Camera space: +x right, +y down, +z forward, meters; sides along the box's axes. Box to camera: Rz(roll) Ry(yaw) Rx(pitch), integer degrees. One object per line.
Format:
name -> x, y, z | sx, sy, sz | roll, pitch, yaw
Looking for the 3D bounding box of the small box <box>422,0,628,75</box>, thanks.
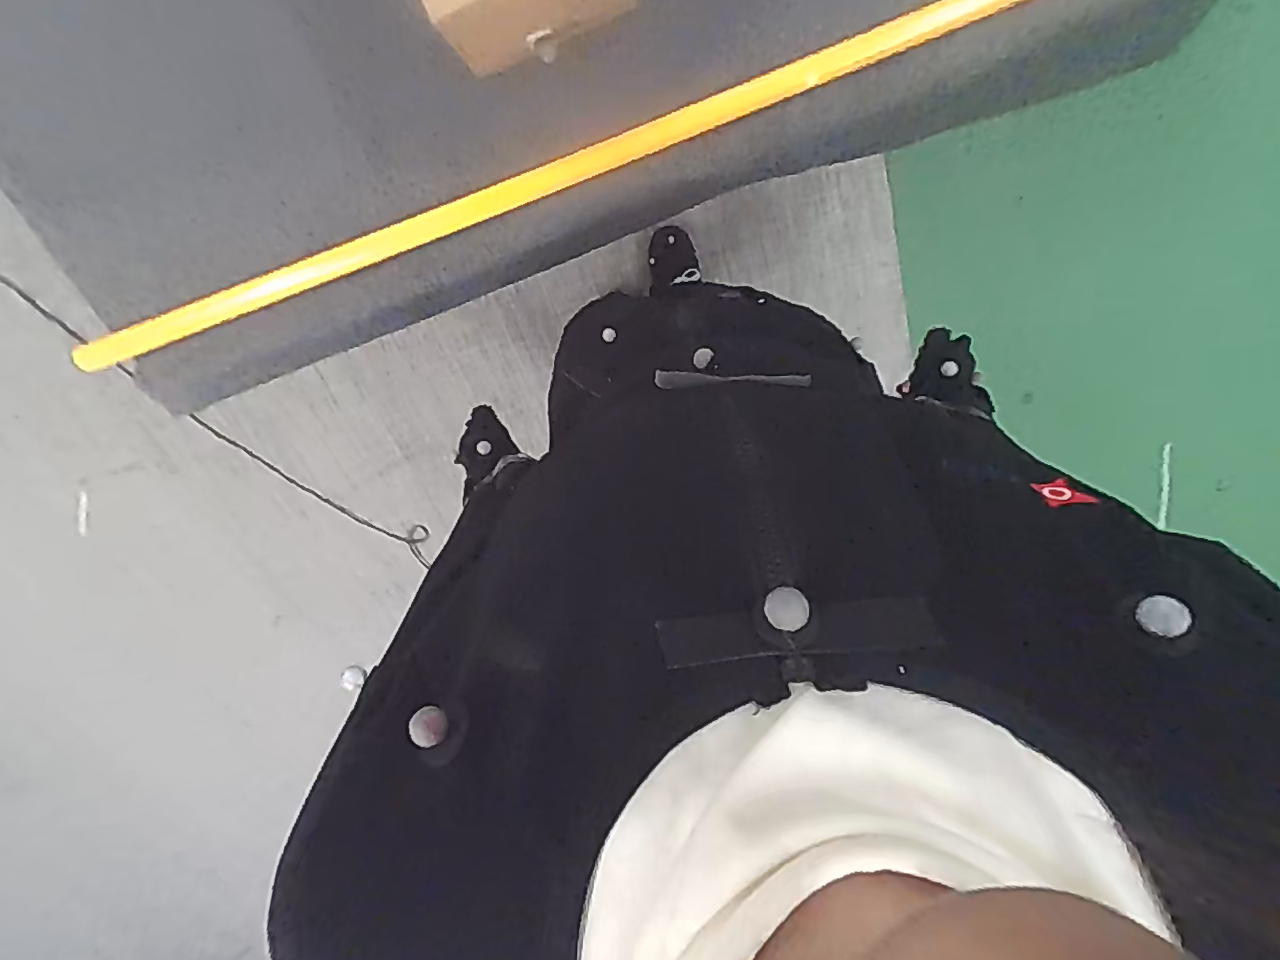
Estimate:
small box -> -0.110, -0.464, 0.420 | 0.168, 0.176, 0.179 | -21, 114, 8
